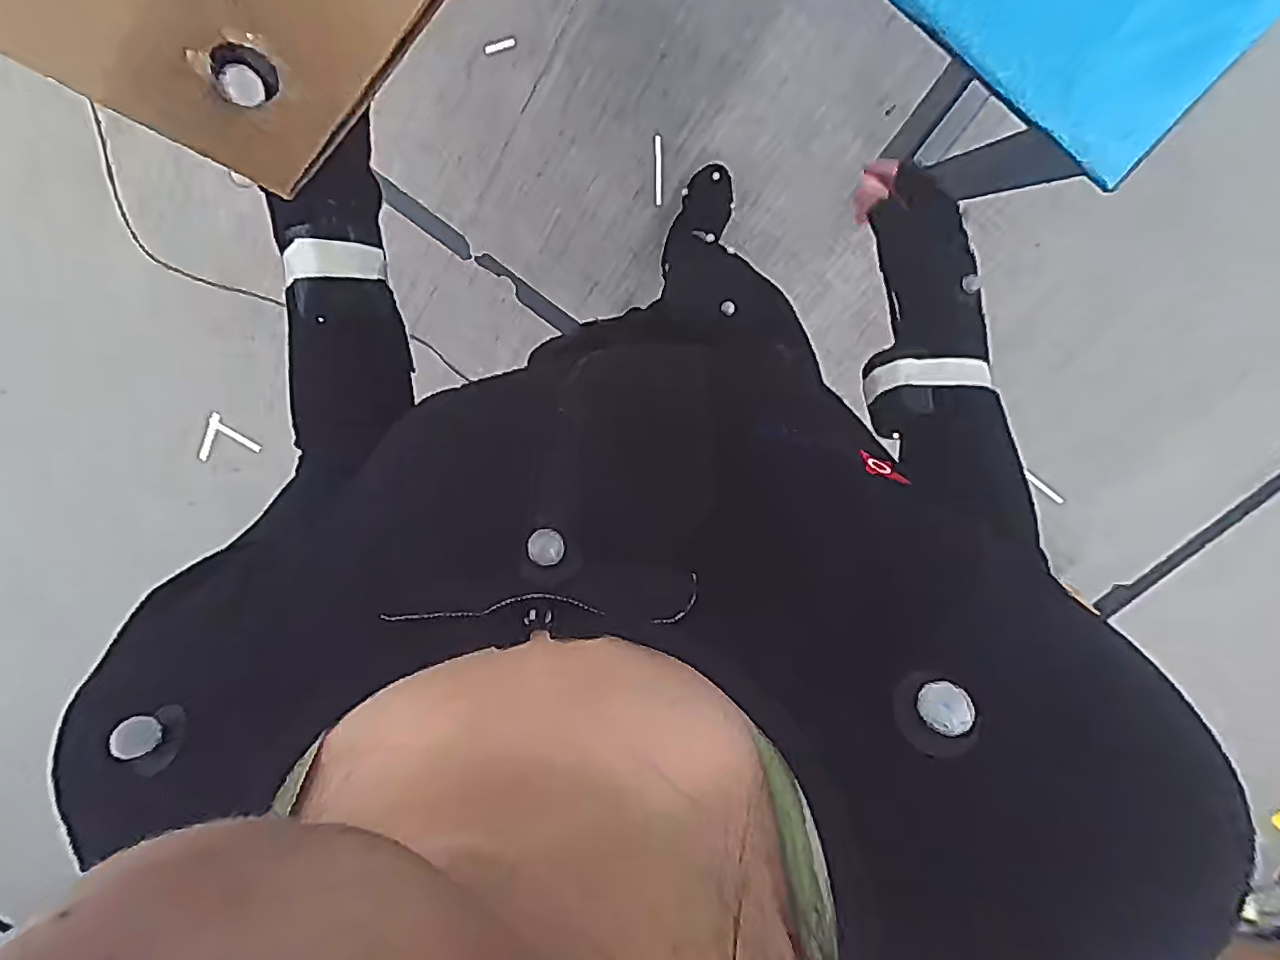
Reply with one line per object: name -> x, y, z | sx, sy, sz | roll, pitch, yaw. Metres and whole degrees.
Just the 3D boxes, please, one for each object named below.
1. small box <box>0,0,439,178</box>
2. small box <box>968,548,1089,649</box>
small box -> -0.176, -0.267, 0.191 | 0.179, 0.176, 0.168 | -31, 70, 25
small box -> 1.061, 0.321, 1.496 | 0.168, 0.176, 0.179 | 30, 113, -7
